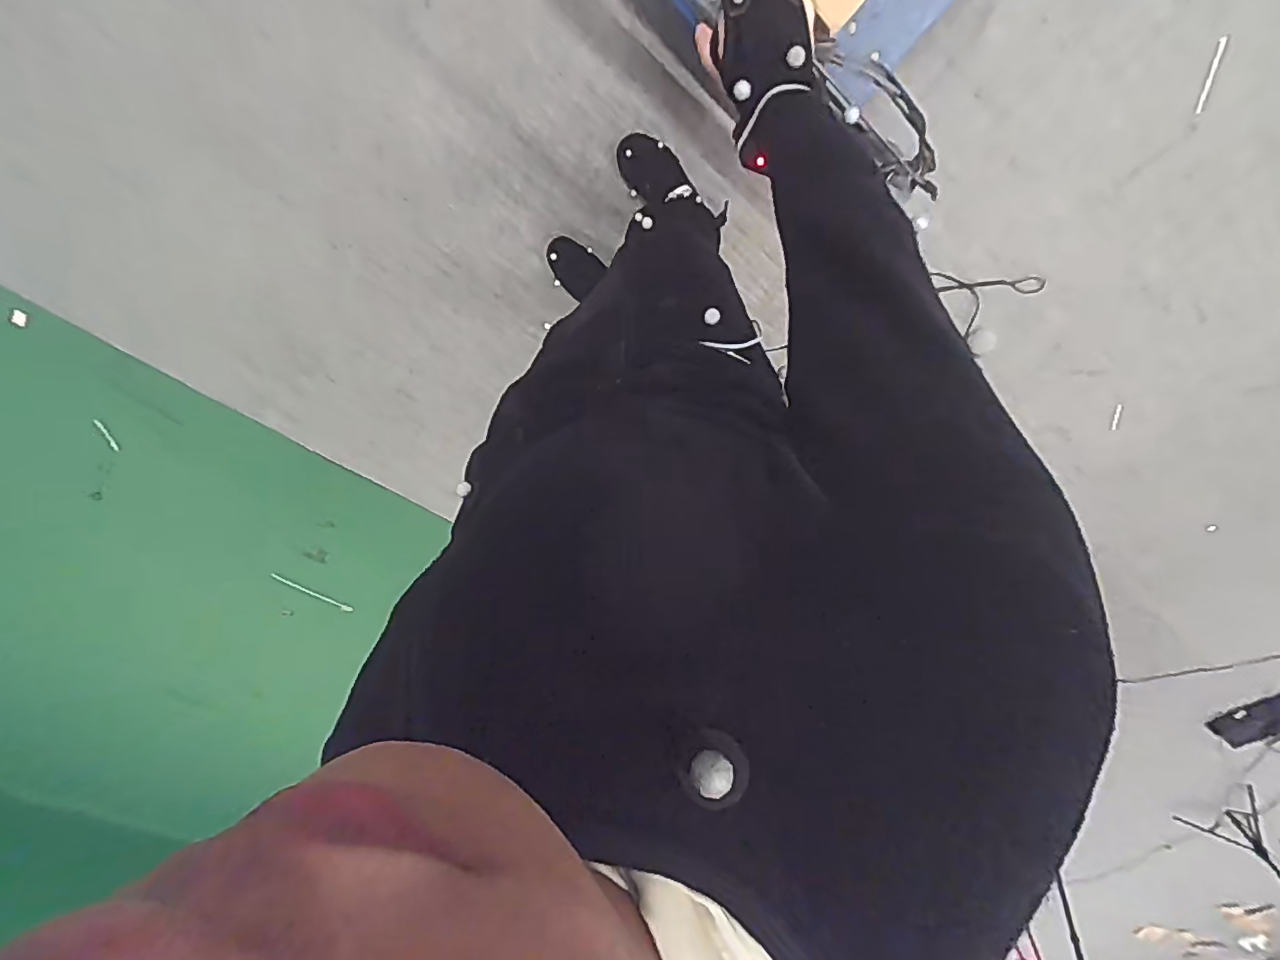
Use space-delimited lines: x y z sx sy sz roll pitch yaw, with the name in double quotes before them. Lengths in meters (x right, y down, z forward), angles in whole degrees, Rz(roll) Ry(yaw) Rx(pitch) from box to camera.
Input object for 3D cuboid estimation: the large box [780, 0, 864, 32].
"large box" 0.314 -0.957 0.758 0.320 0.320 0.408 35 121 -21
